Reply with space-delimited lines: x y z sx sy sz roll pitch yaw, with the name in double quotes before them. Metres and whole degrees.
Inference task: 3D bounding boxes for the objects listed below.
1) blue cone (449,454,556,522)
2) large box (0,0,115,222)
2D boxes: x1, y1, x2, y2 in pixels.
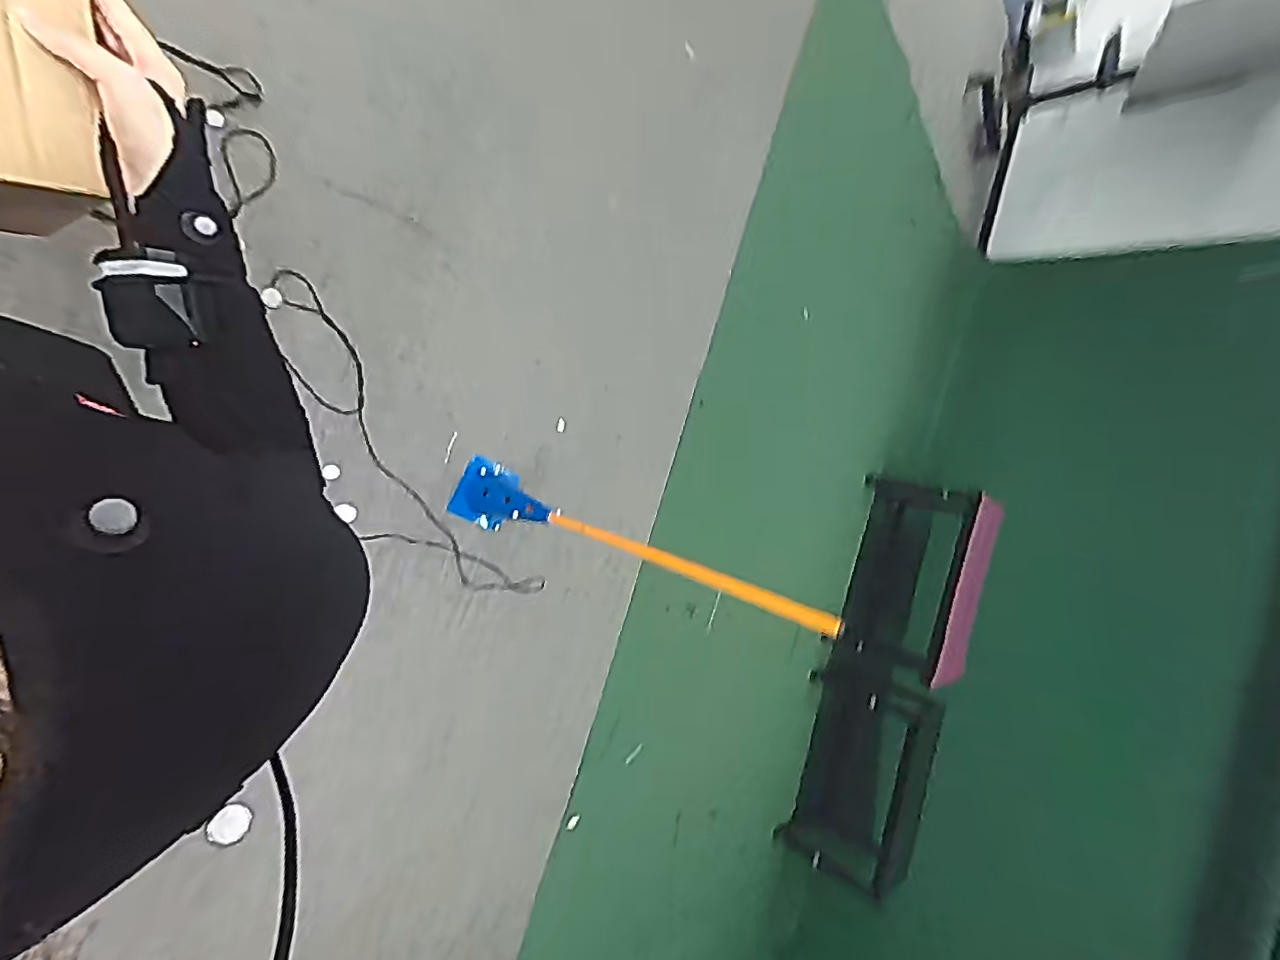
"blue cone" -0.388 0.056 1.617 0.192 0.380 0.193 35 74 -46
"large box" -0.601 -0.351 0.276 0.408 0.320 0.320 -14 112 -53
